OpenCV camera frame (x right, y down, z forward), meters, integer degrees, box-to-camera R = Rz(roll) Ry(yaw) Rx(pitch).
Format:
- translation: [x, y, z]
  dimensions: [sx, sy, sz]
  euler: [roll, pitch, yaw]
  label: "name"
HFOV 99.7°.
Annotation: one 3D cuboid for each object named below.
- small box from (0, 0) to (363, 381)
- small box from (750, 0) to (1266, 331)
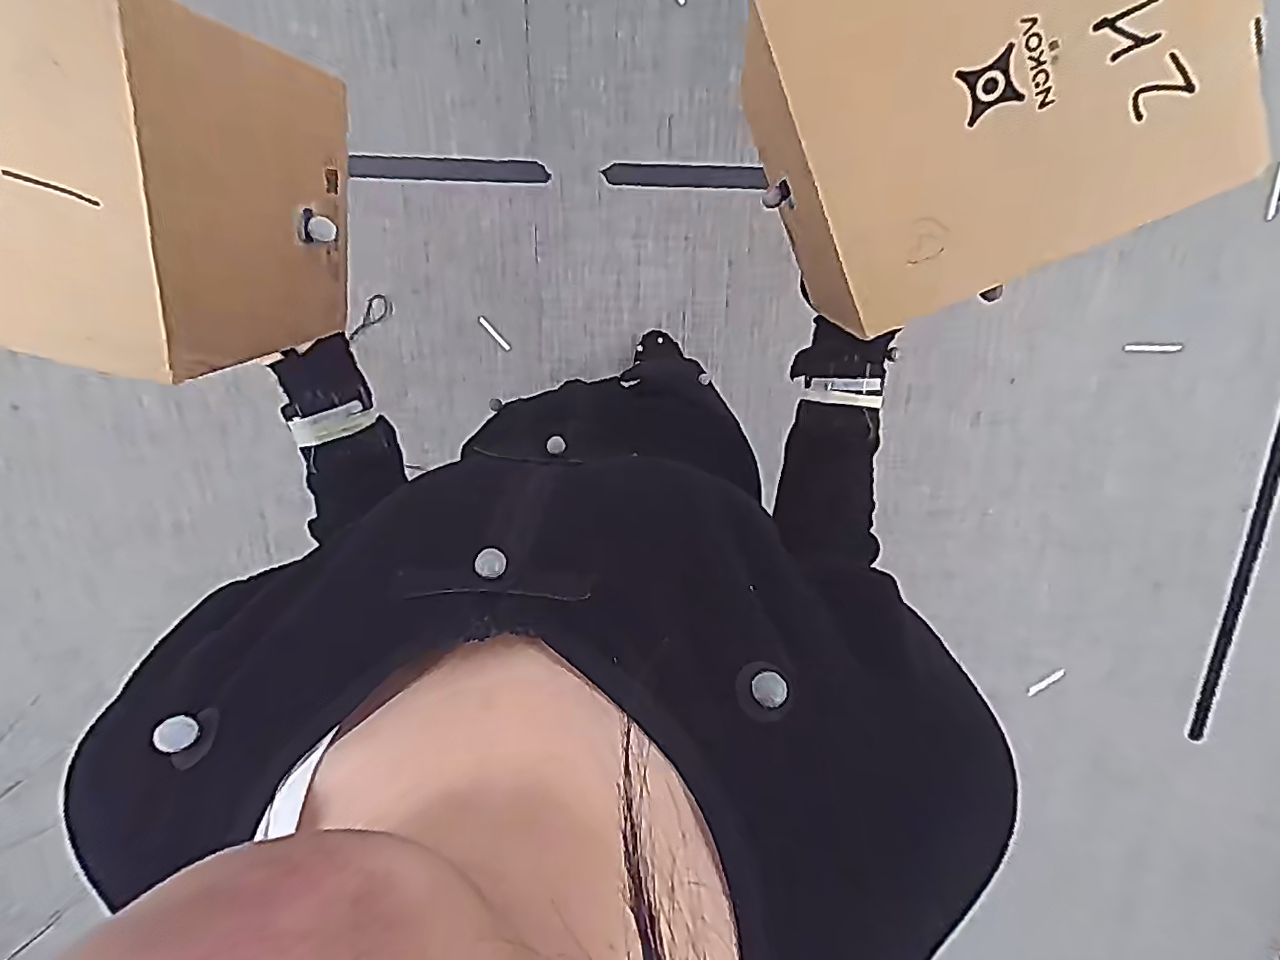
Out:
- translation: [-0.287, -0.172, 0.305]
  dimensions: [0.179, 0.176, 0.168]
  euler: [13, 115, -5]
  label: "small box"
- translation: [0.171, -0.204, 0.309]
  dimensions: [0.179, 0.176, 0.168]
  euler: [-22, 108, 16]
  label: "small box"
